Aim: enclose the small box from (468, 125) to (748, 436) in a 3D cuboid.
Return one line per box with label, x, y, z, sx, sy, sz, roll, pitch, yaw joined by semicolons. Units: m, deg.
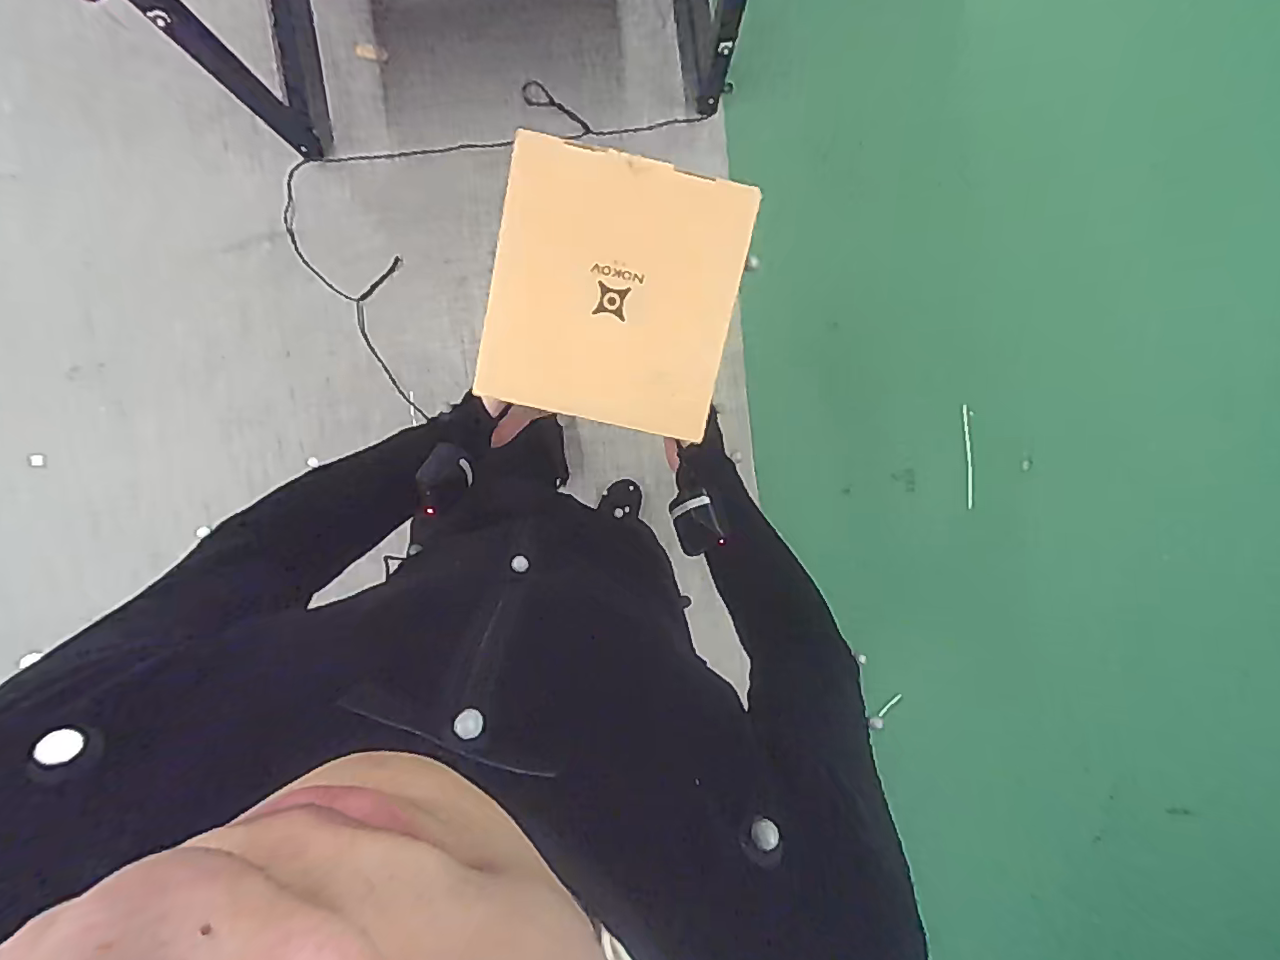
small box;-0.025;-0.144;0.448;0.168;0.176;0.179;12;98;-3
